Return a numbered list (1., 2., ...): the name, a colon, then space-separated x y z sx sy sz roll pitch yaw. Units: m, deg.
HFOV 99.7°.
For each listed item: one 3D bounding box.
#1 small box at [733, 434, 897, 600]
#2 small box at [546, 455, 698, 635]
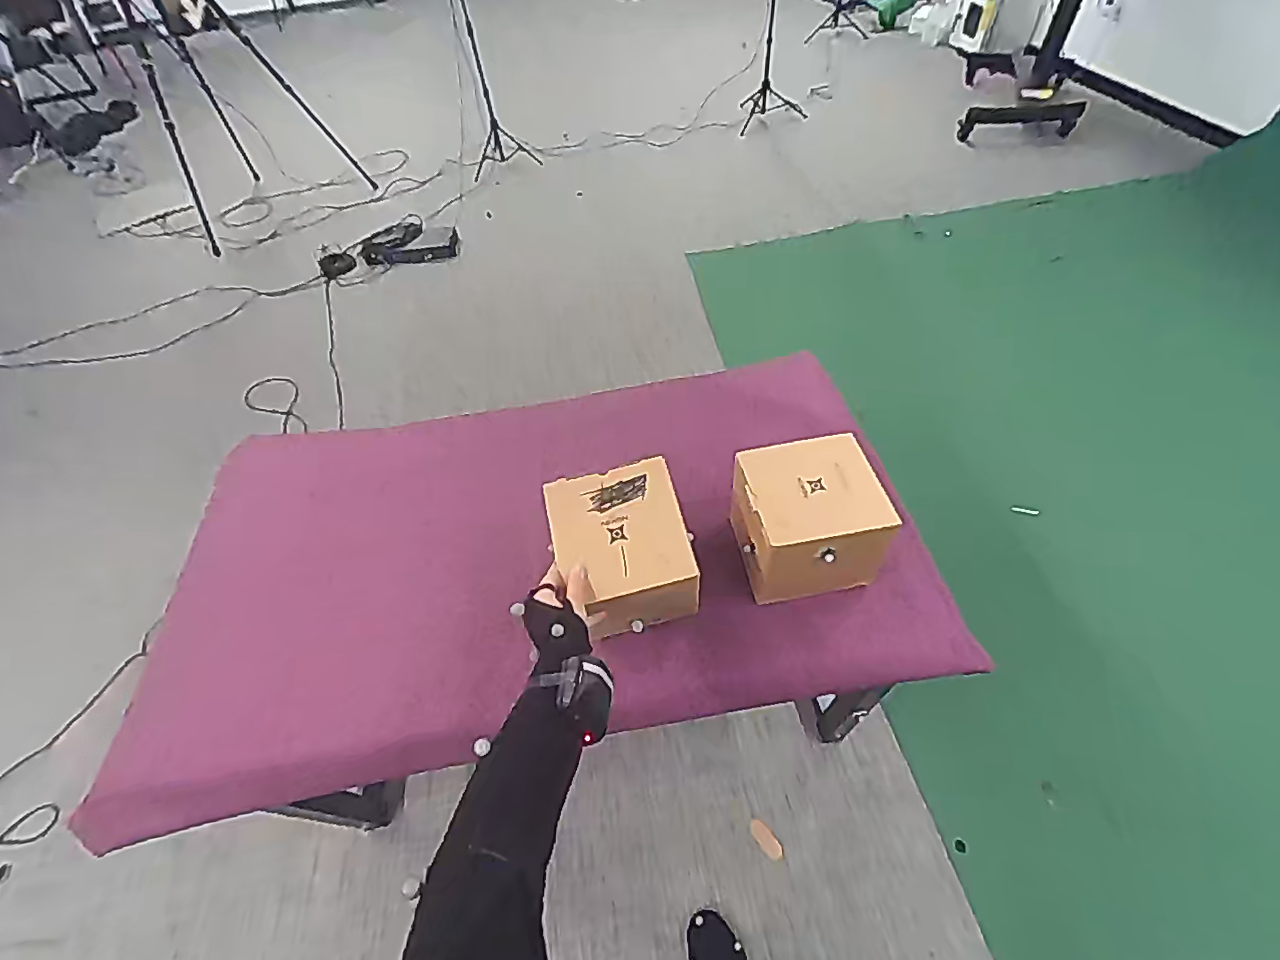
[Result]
1. small box: 0.238 0.060 0.790 0.179 0.176 0.168 -9 51 -2
2. small box: -0.025 0.094 0.740 0.168 0.176 0.179 -12 62 -3
